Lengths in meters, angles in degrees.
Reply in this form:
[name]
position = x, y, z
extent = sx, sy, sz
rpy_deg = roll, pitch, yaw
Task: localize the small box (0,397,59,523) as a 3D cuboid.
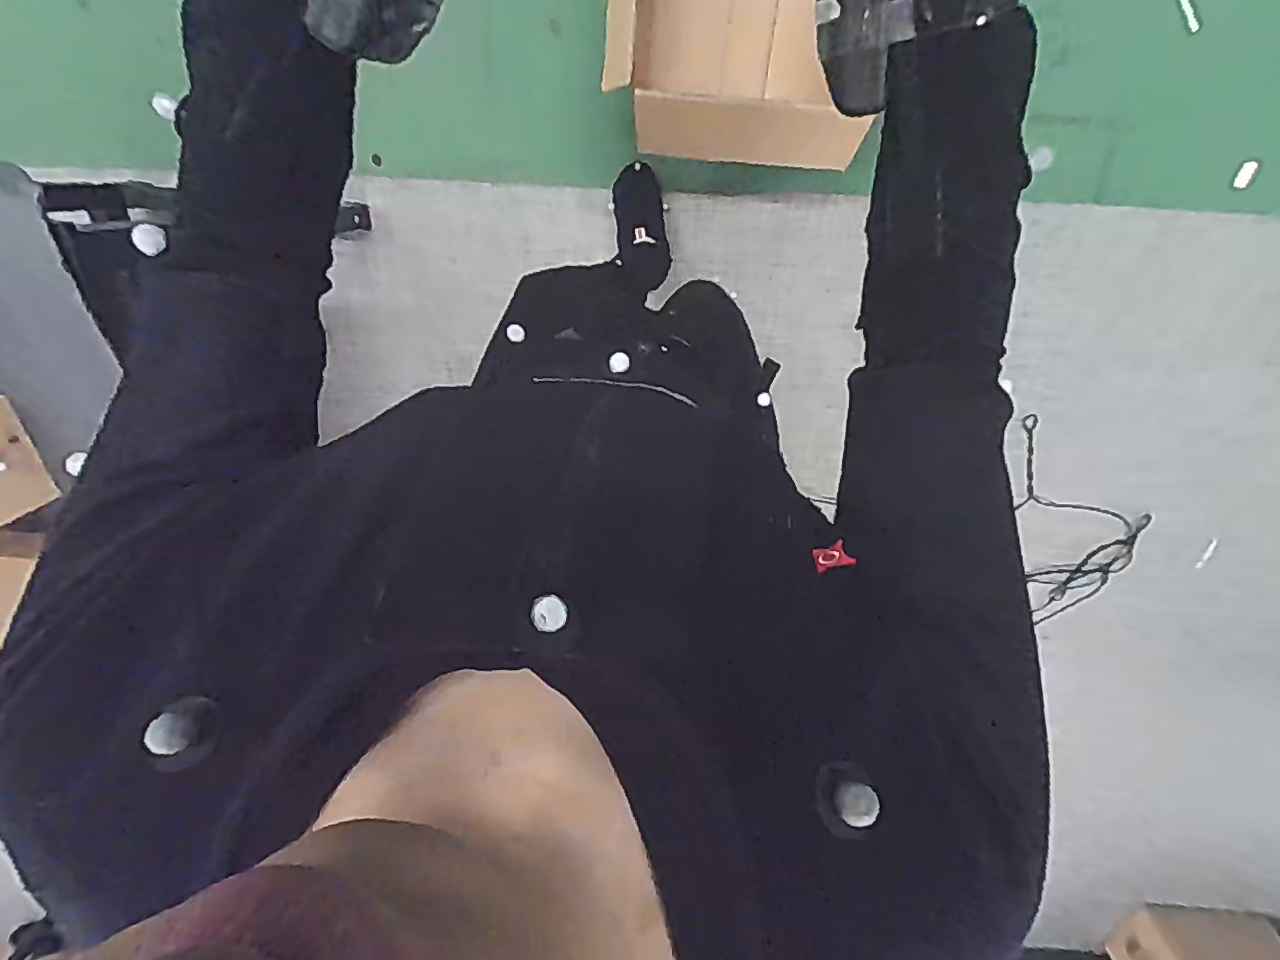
[small box]
position = -0.965, -0.014, 0.719
extent = 0.179, 0.176, 0.168
rpy_deg = 5, 119, 2
